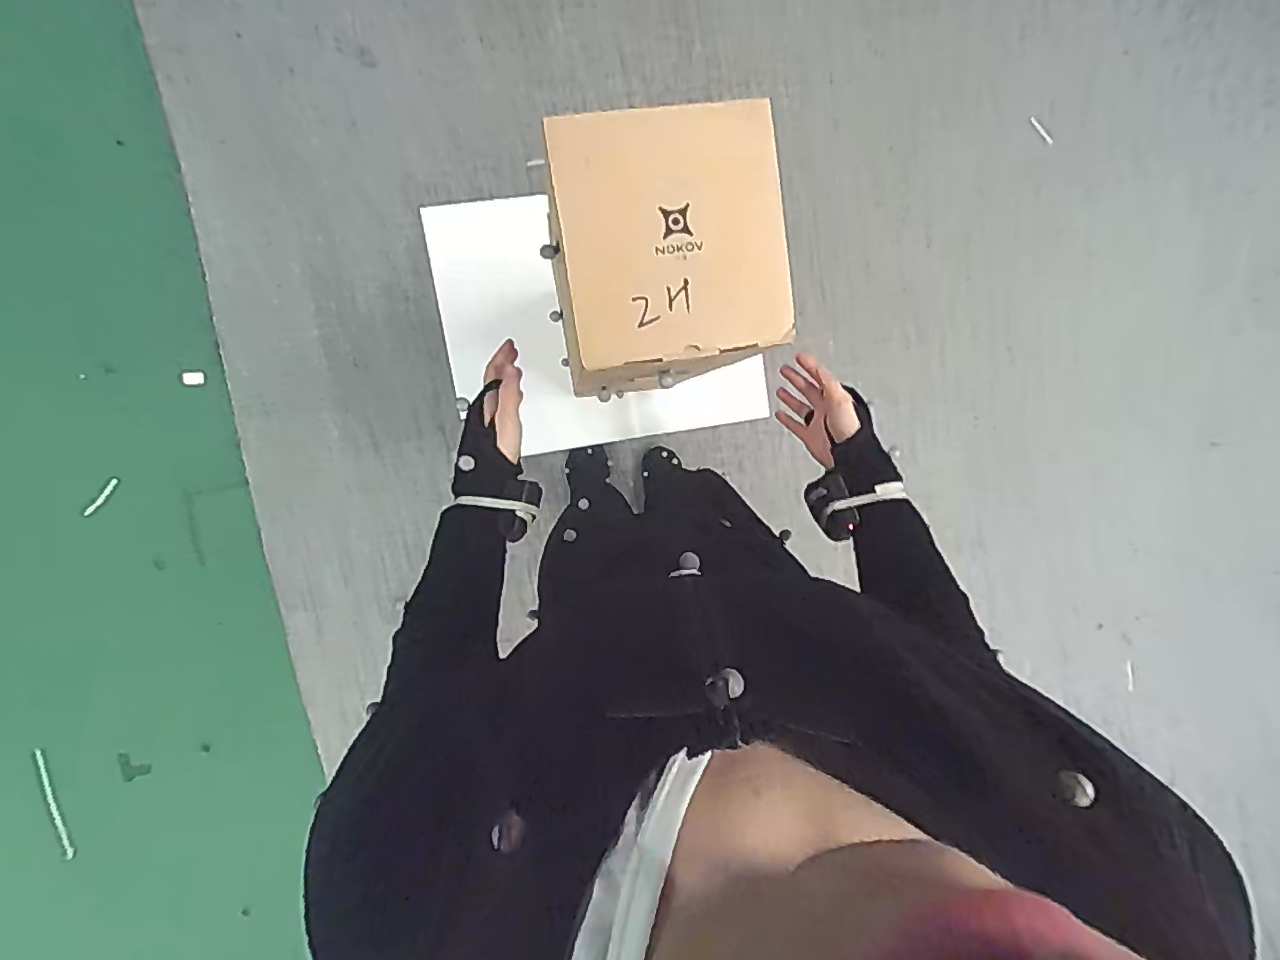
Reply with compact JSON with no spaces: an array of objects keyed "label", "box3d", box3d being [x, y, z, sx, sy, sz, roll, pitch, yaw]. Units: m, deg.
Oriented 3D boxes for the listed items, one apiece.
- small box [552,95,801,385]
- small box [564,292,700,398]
[{"label":"small box","box3d":[0.018,-0.185,0.465,0.168,0.176,0.179,-9,97,-6]},{"label":"small box","box3d":[-0.019,-0.220,0.789,0.168,0.176,0.179,-8,96,-7]}]
